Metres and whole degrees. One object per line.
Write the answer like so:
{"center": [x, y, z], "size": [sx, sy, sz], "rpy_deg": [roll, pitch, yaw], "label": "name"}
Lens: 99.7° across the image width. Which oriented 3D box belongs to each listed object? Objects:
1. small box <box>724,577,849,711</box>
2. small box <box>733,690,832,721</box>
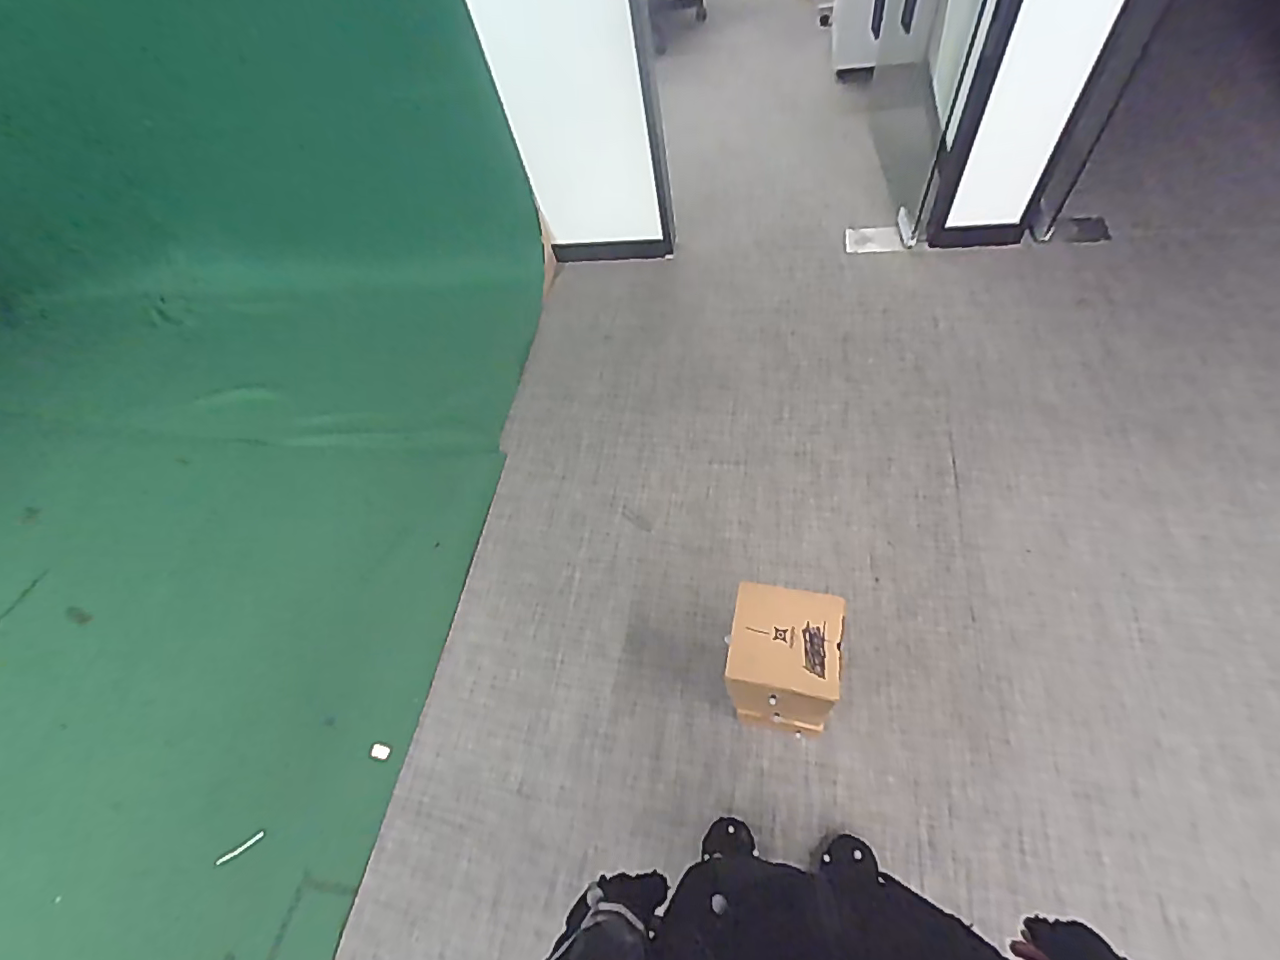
{"center": [0.252, 0.291, 0.945], "size": [0.179, 0.176, 0.168], "rpy_deg": [10, 60, 17], "label": "small box"}
{"center": [0.288, 0.374, 1.085], "size": [0.179, 0.176, 0.168], "rpy_deg": [7, 61, 16], "label": "small box"}
